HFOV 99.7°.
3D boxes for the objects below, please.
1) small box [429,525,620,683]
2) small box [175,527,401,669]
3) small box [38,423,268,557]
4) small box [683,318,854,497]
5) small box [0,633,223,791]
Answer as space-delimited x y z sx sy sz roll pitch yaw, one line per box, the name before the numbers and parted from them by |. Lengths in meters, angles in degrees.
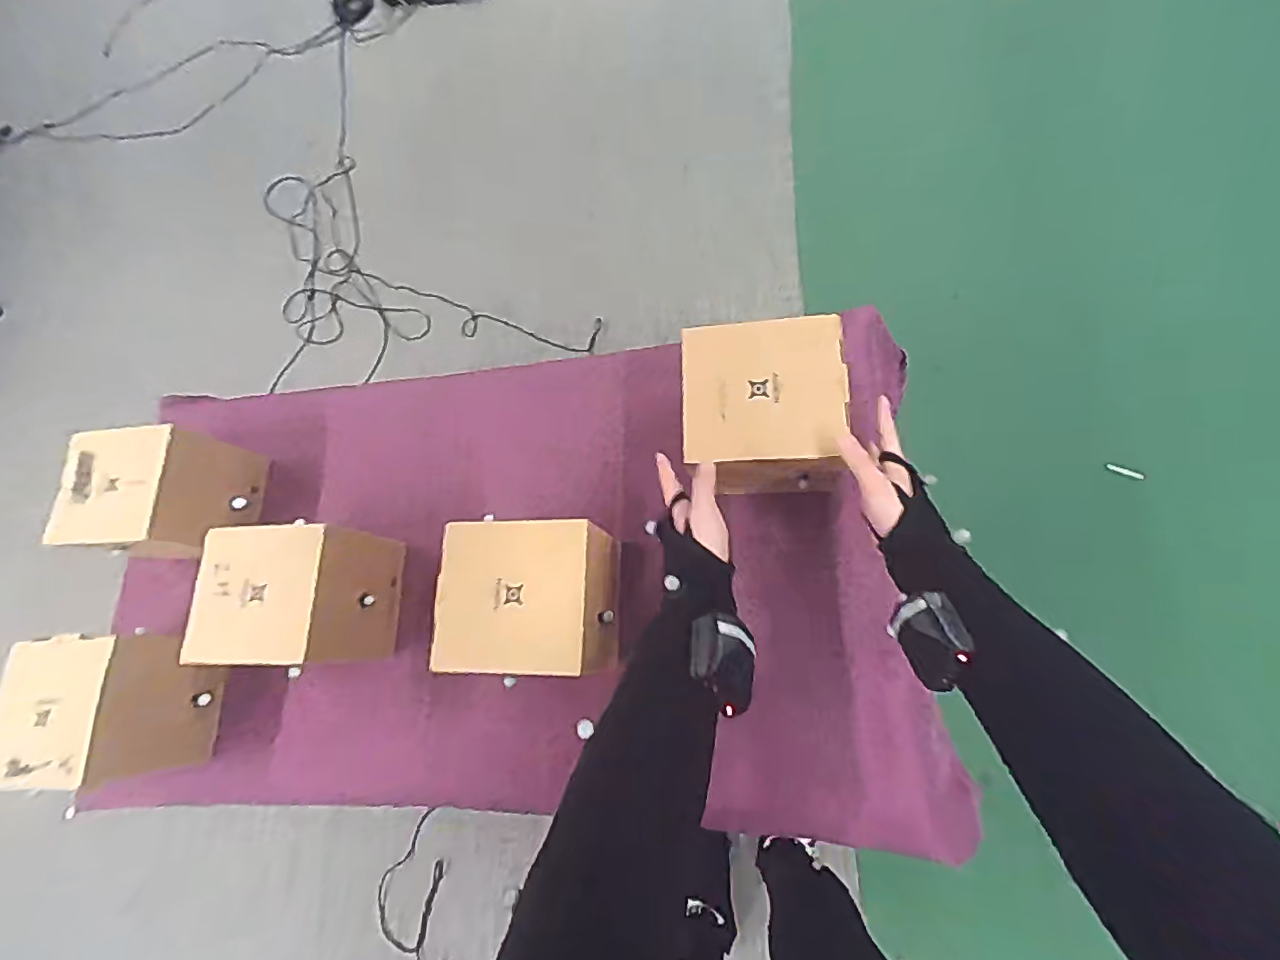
small box | -0.126 0.148 0.659 0.179 0.176 0.168 -3 75 12
small box | -0.450 0.156 0.721 0.179 0.176 0.168 -2 74 11
small box | -0.714 0.024 0.812 0.179 0.176 0.168 -3 75 10
small box | 0.150 -0.077 0.658 0.179 0.176 0.168 -1 76 12
small box | -0.715 0.304 0.734 0.168 0.176 0.179 -5 72 11
